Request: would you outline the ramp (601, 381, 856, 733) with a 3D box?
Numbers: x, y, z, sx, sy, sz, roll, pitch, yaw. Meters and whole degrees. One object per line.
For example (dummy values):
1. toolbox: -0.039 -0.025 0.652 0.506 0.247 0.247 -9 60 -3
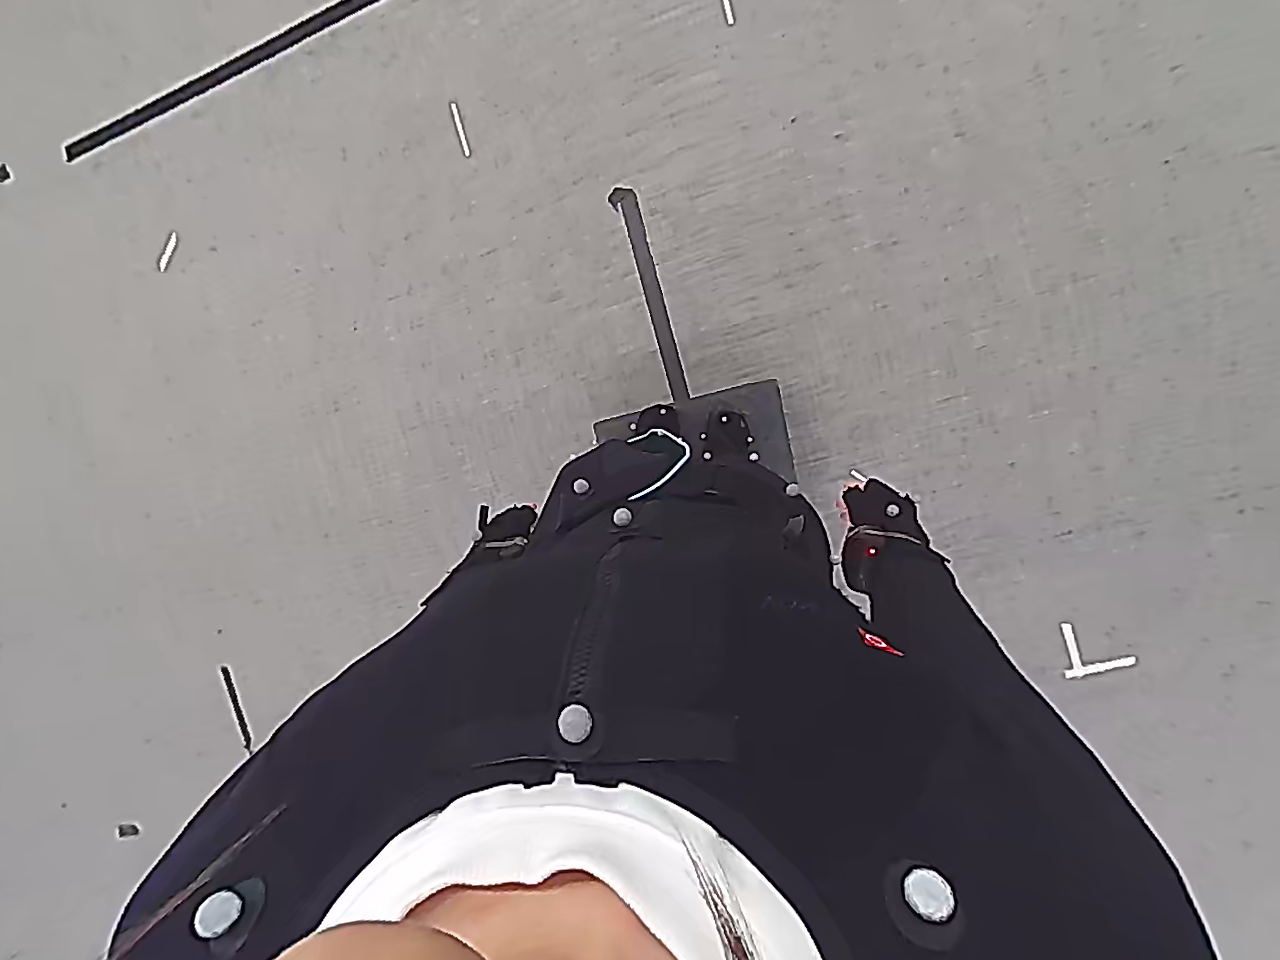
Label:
1. ramp: 0.269 0.265 1.521 0.509 0.206 0.991 -16 94 10
